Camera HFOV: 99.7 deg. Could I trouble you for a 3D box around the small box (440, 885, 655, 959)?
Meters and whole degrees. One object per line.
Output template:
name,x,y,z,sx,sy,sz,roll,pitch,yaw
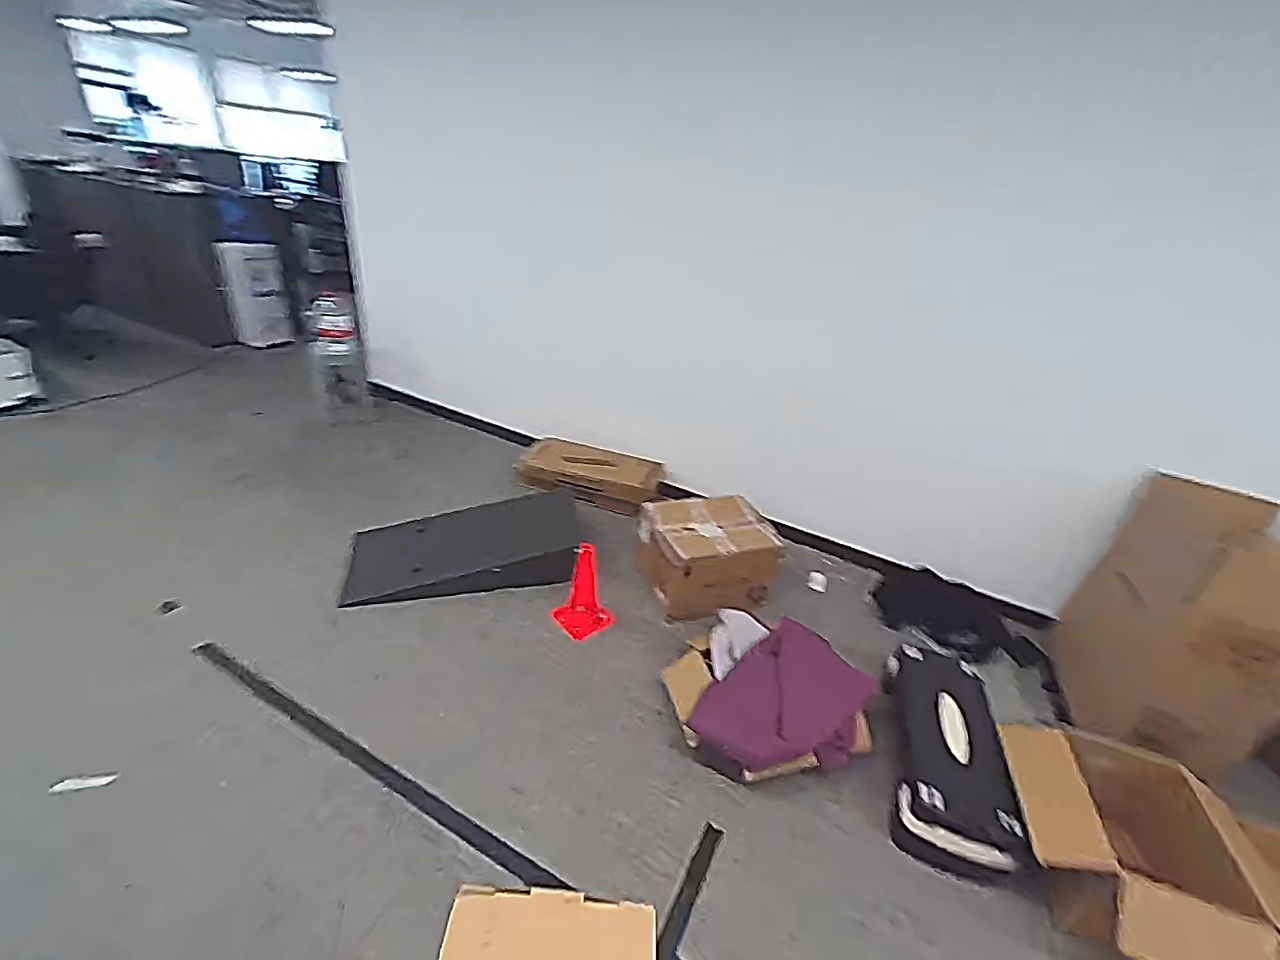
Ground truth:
small box,-0.083,0.454,0.420,0.168,0.176,0.179,8,36,-4
